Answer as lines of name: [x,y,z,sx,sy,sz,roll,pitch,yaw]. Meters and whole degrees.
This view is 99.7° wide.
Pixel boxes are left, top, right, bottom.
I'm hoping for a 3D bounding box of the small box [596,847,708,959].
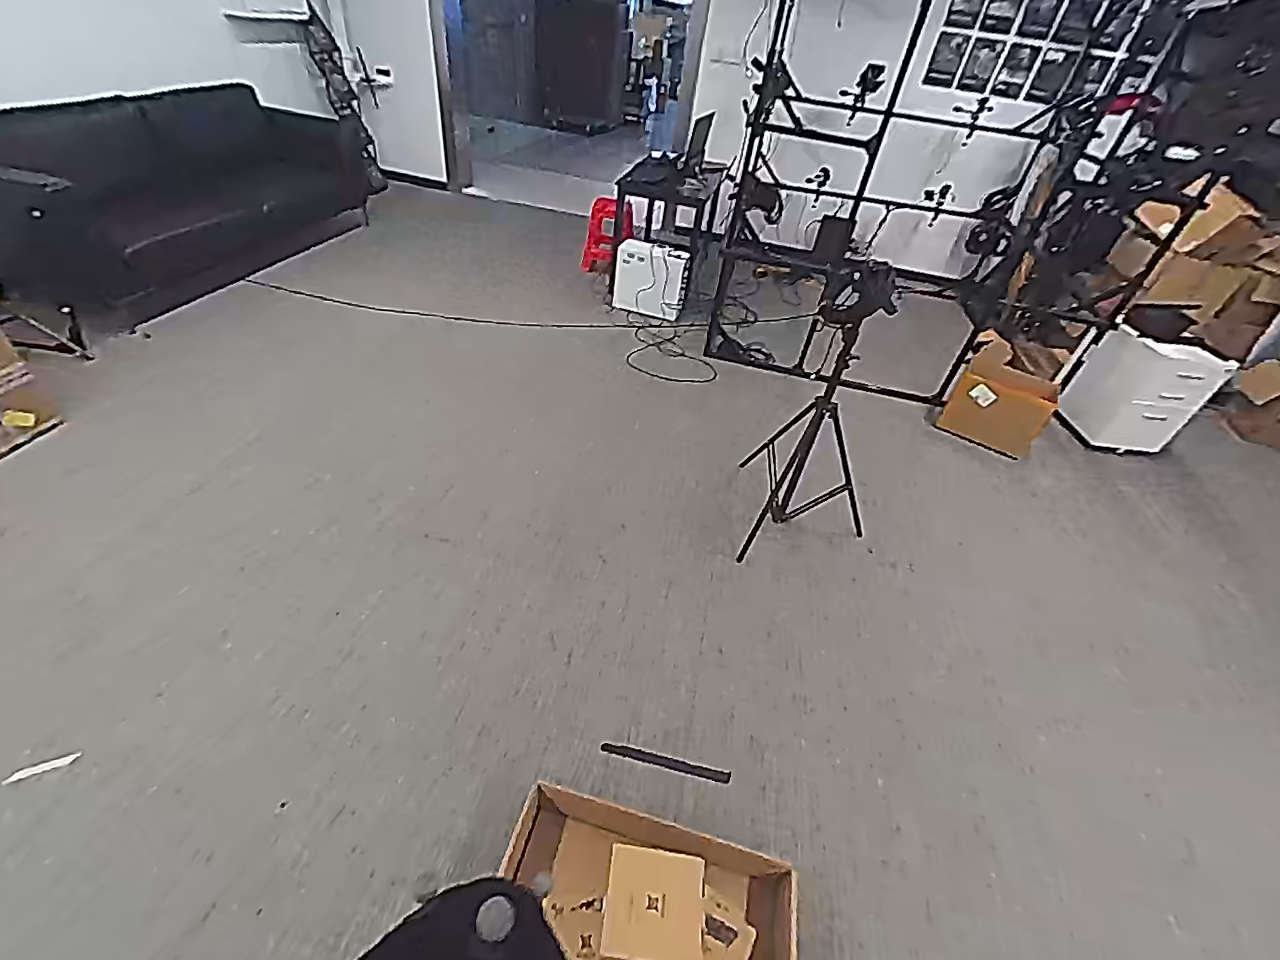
small box: [0.021,0.806,0.990,0.179,0.176,0.168,8,38,1]
